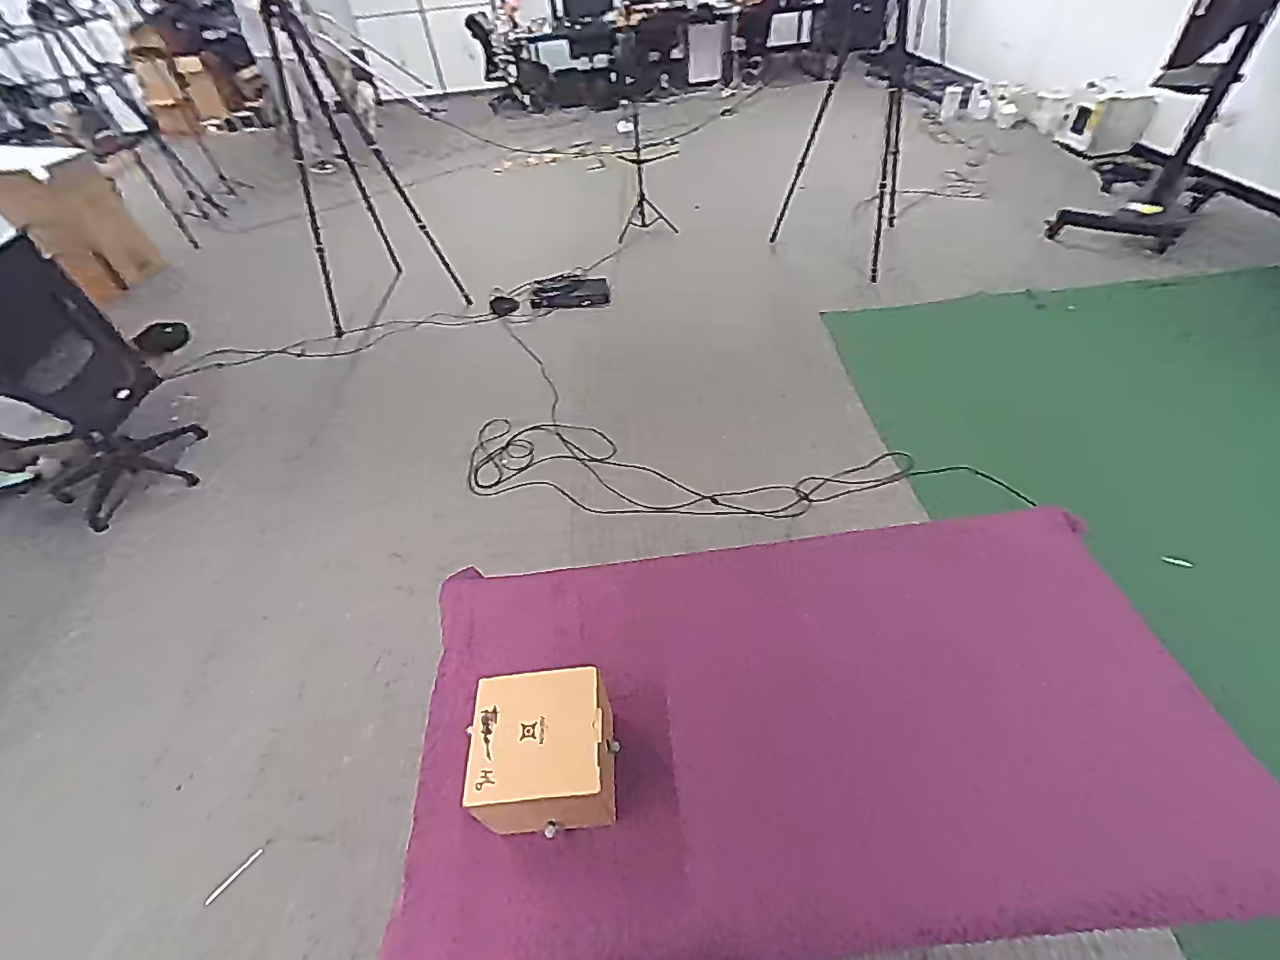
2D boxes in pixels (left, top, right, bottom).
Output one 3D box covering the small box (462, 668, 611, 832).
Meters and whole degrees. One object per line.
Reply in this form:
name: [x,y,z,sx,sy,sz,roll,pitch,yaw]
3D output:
small box: [-0.133,0.388,0.775,0.179,0.176,0.168,-5,46,0]
